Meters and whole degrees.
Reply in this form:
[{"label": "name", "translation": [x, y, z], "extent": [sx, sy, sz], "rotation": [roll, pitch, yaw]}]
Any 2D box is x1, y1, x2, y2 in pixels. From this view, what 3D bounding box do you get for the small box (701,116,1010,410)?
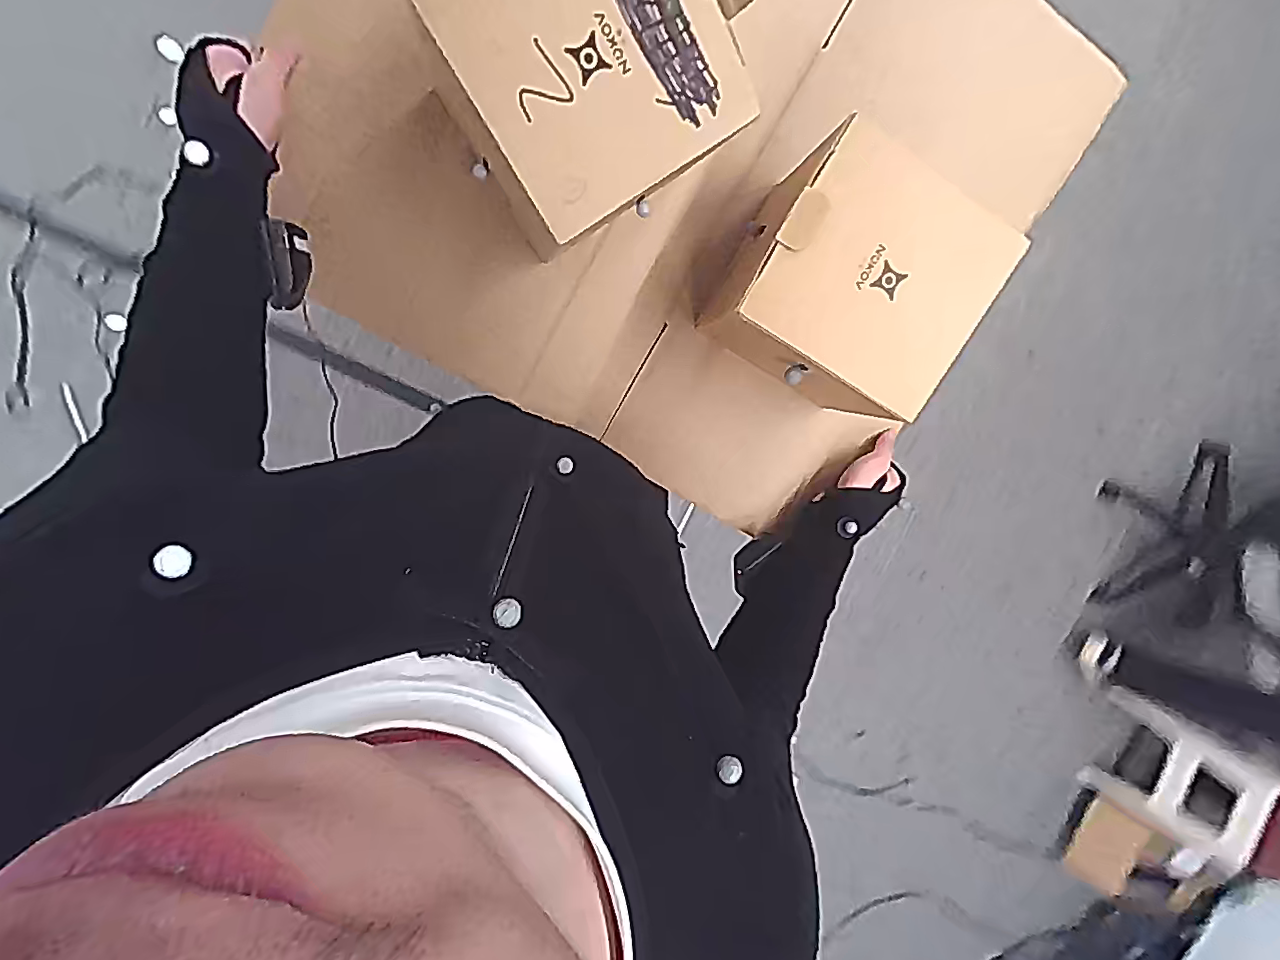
[{"label": "small box", "translation": [0.180, -0.185, 0.510], "extent": [0.179, 0.176, 0.168], "rotation": [28, 98, -9]}]
